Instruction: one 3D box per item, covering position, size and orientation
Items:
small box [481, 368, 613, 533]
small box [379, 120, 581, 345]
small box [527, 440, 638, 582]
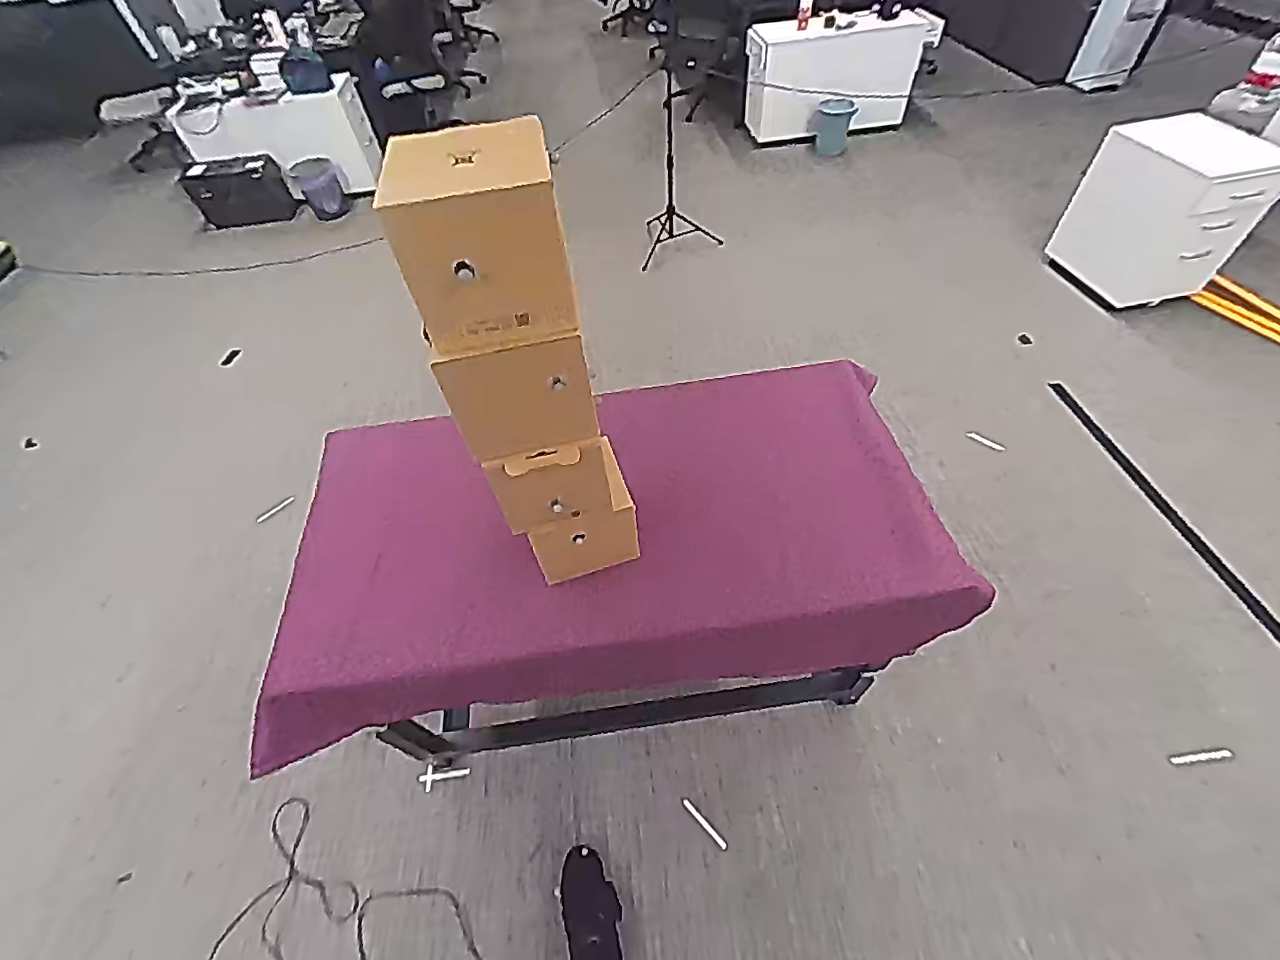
[{"bbox_3d":[-0.143,-0.045,0.844,0.168,0.176,0.179,-12,52,-4],"label":"small box"},{"bbox_3d":[-0.166,-0.268,0.605,0.168,0.176,0.179,-11,51,-4],"label":"small box"},{"bbox_3d":[-0.110,0.059,0.969,0.179,0.176,0.168,-15,52,-8],"label":"small box"}]
